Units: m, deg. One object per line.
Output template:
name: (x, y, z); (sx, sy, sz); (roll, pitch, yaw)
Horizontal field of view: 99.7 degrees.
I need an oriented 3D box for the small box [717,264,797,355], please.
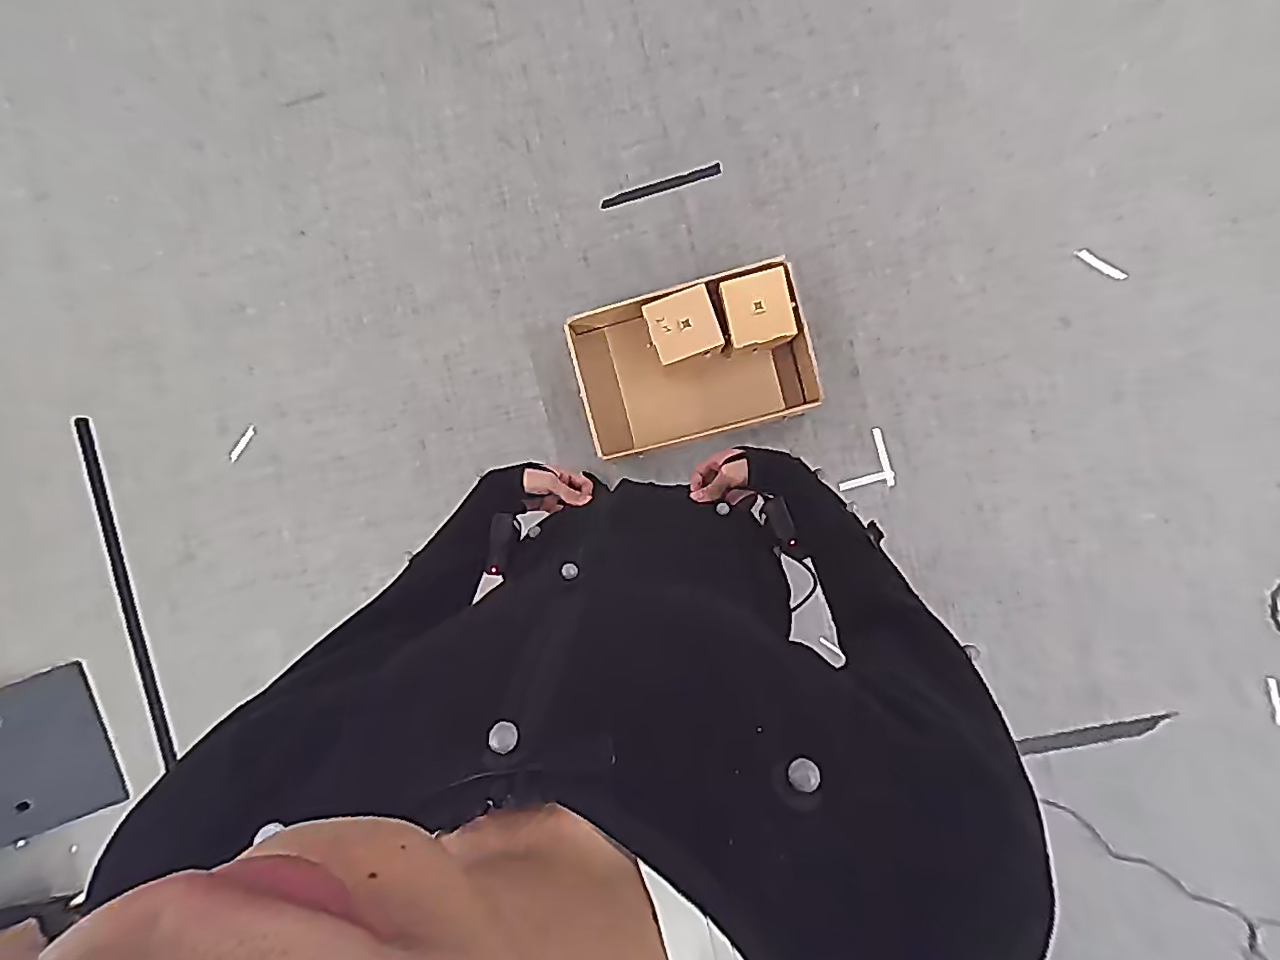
small box: (0.309, -0.452, 1.458); (0.168, 0.176, 0.179); (-14, 94, 6)
